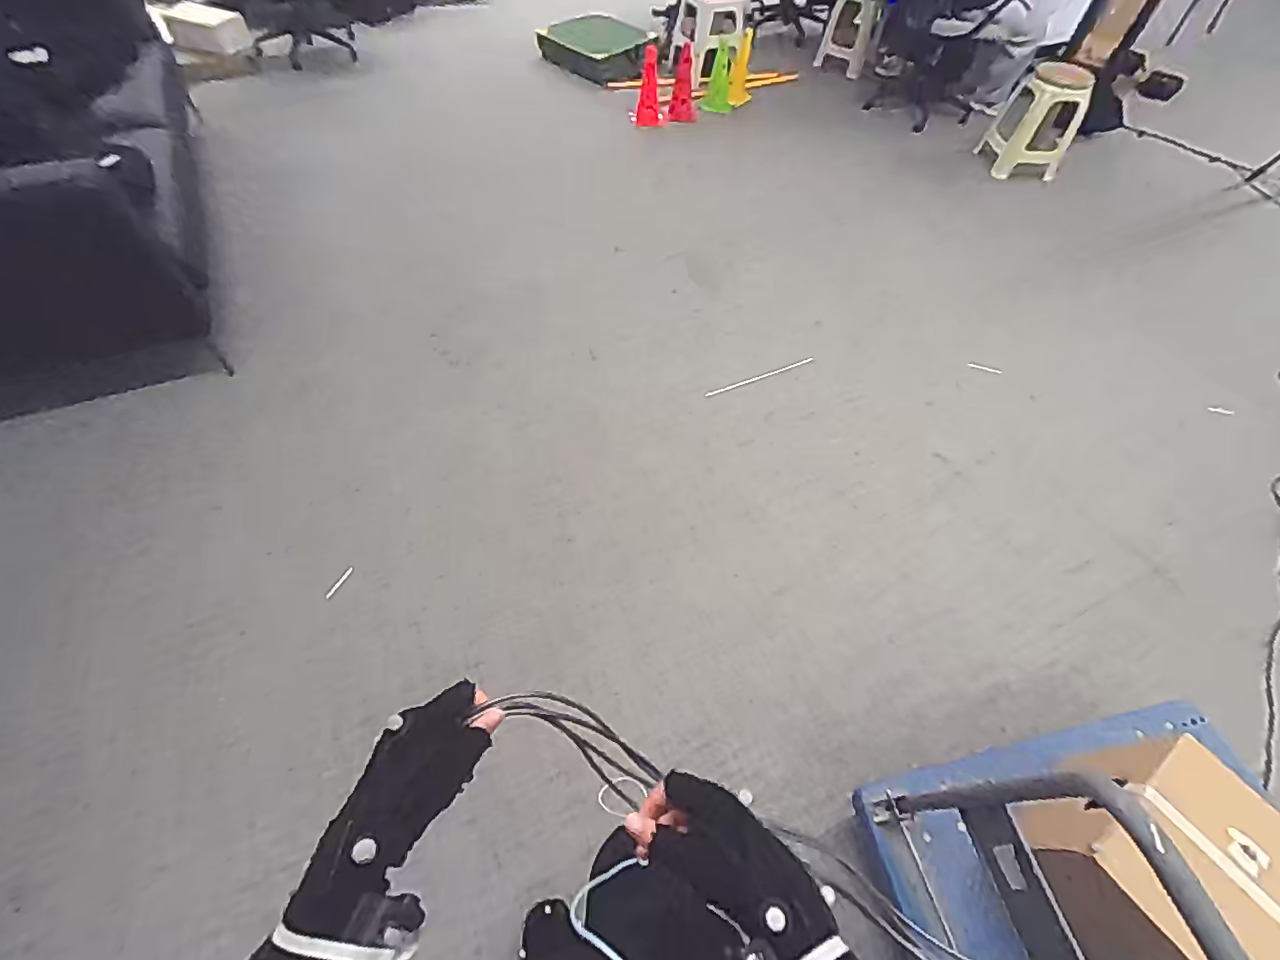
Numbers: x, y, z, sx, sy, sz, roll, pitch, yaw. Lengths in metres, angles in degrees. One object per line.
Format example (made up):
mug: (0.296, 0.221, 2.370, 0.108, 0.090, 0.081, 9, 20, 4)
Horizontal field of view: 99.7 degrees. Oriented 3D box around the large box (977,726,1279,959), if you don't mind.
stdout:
large box: (0.919, 0.720, 0.938, 0.320, 0.320, 0.408, -29, 61, -21)
